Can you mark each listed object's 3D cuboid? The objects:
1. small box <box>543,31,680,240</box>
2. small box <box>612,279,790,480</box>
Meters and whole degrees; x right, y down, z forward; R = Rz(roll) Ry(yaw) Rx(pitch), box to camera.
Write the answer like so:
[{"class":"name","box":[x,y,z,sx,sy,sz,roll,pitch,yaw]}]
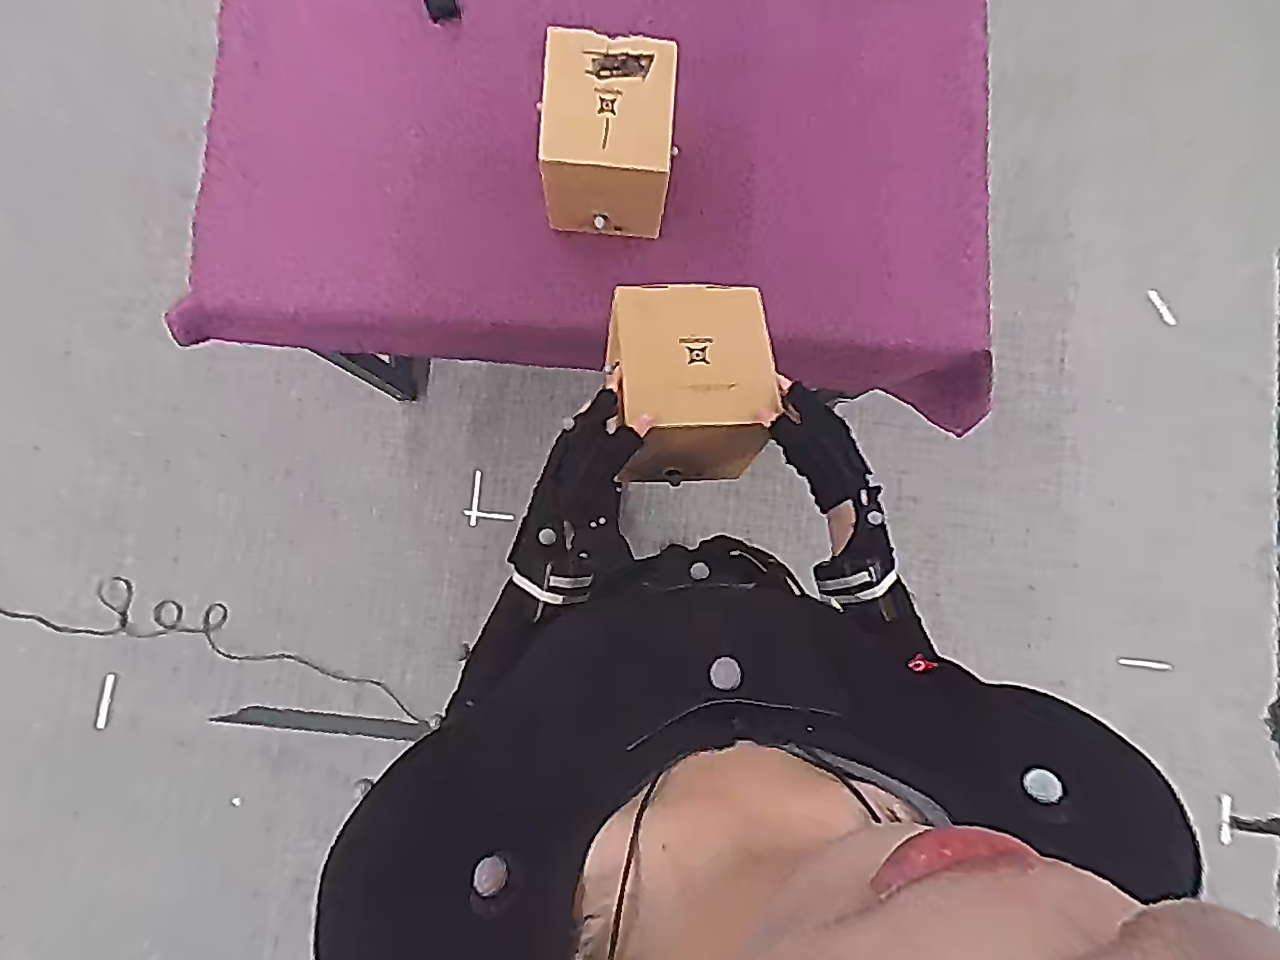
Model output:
[{"class":"small box","box":[-0.040,-0.468,0.758,0.168,0.176,0.179,3,86,-3]},{"class":"small box","box":[0.057,-0.112,0.643,0.168,0.176,0.179,-3,70,-7]}]
